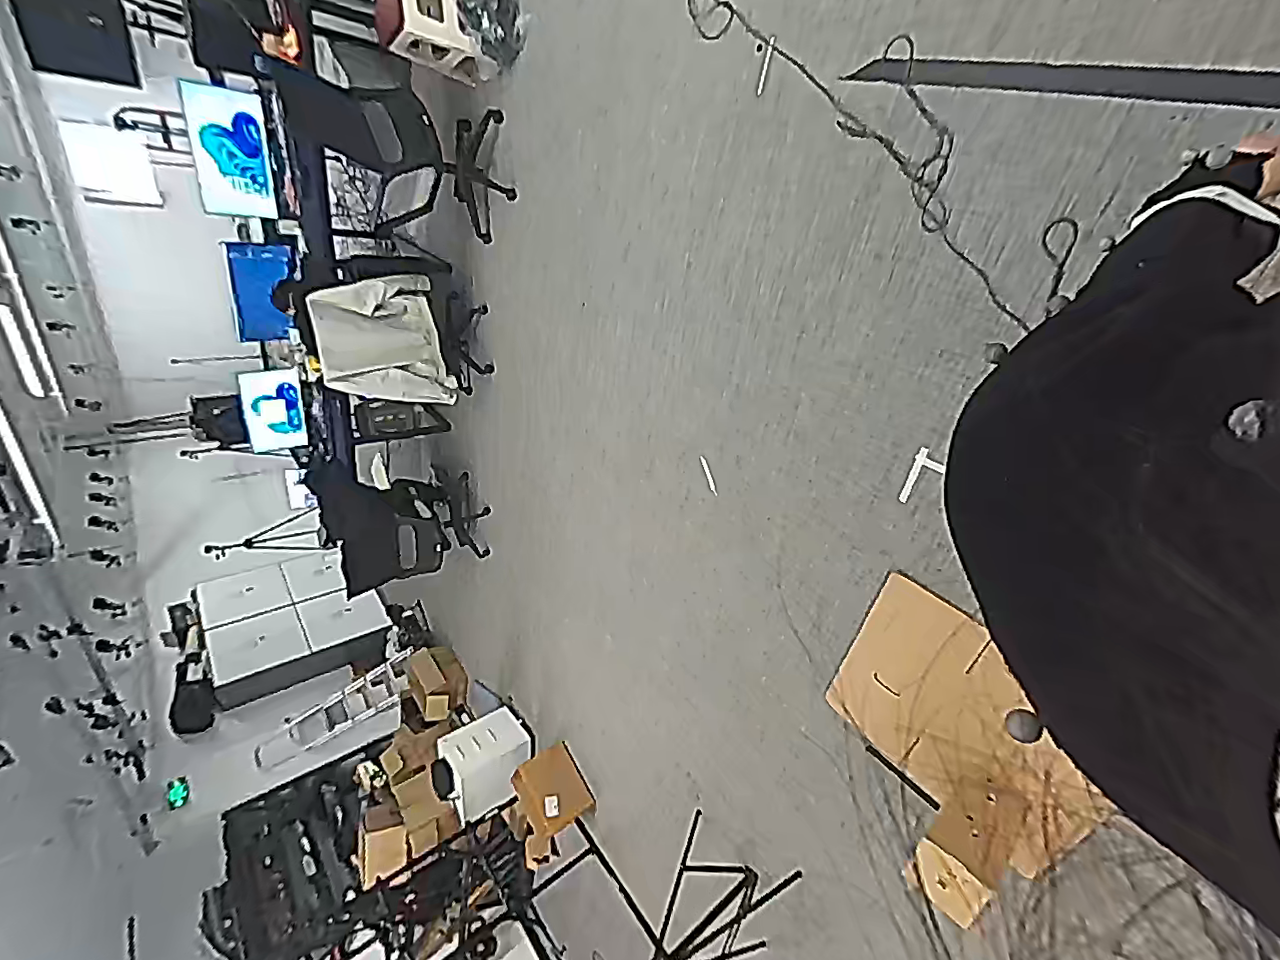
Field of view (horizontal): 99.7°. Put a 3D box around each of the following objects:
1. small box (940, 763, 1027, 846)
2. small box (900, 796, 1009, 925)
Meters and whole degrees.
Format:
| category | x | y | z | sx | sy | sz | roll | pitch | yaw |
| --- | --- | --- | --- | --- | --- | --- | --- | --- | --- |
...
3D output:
| category | x | y | z | sx | sy | sz | roll | pitch | yaw |
| --- | --- | --- | --- | --- | --- | --- | --- | --- | --- |
| small box | 0.930 | 0.926 | 1.488 | 0.168 | 0.176 | 0.179 | 31 | 124 | 41 |
| small box | 0.808 | 0.965 | 1.385 | 0.168 | 0.176 | 0.179 | 32 | 126 | 39 |
